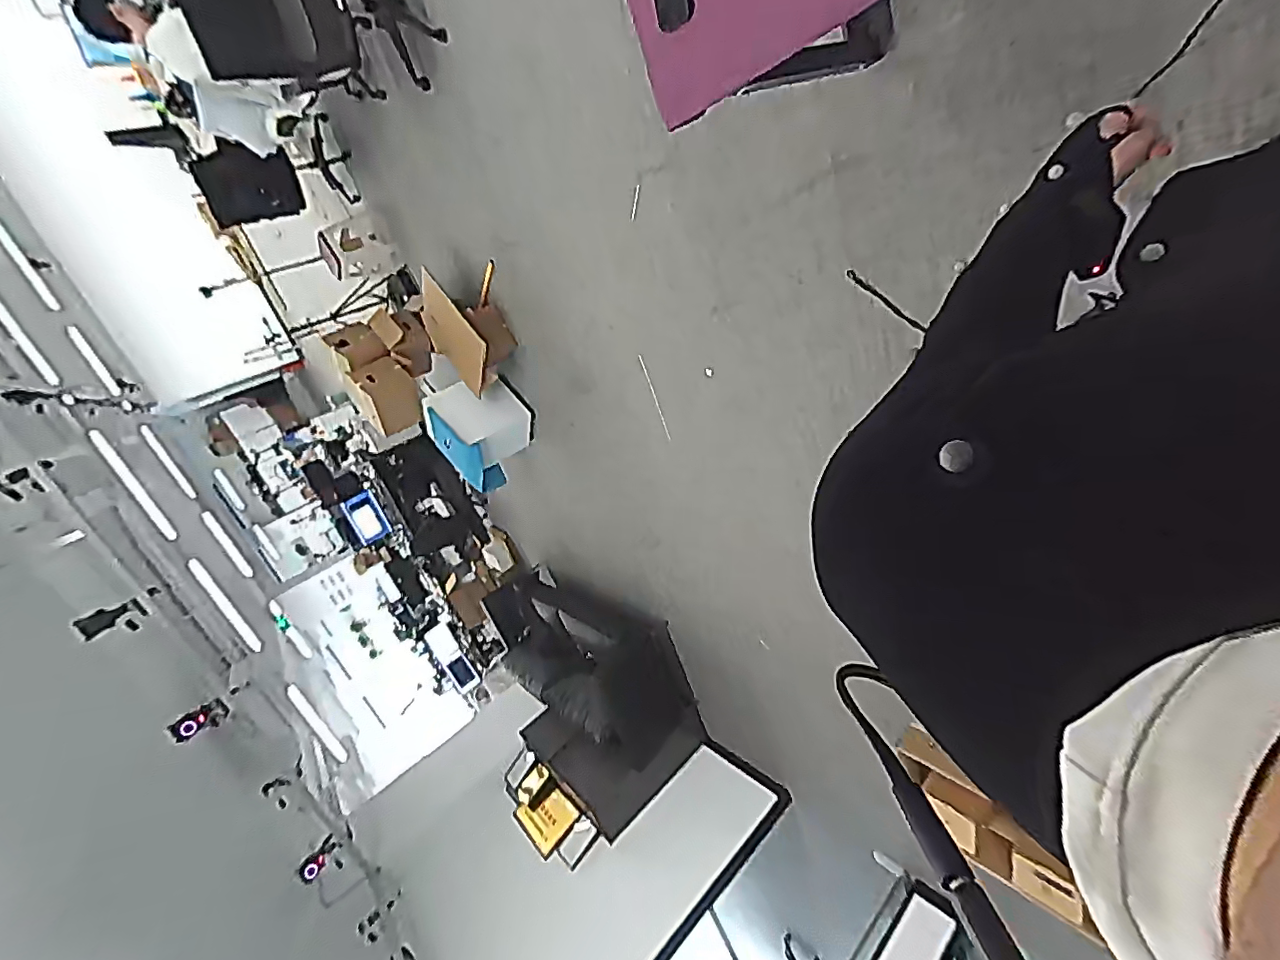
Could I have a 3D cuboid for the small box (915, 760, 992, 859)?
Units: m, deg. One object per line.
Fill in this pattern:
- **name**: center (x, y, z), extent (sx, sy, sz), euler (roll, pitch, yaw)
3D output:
- **small box**: center (1.013, 1.056, 1.745), extent (0.168, 0.176, 0.179), euler (17, 130, 49)
